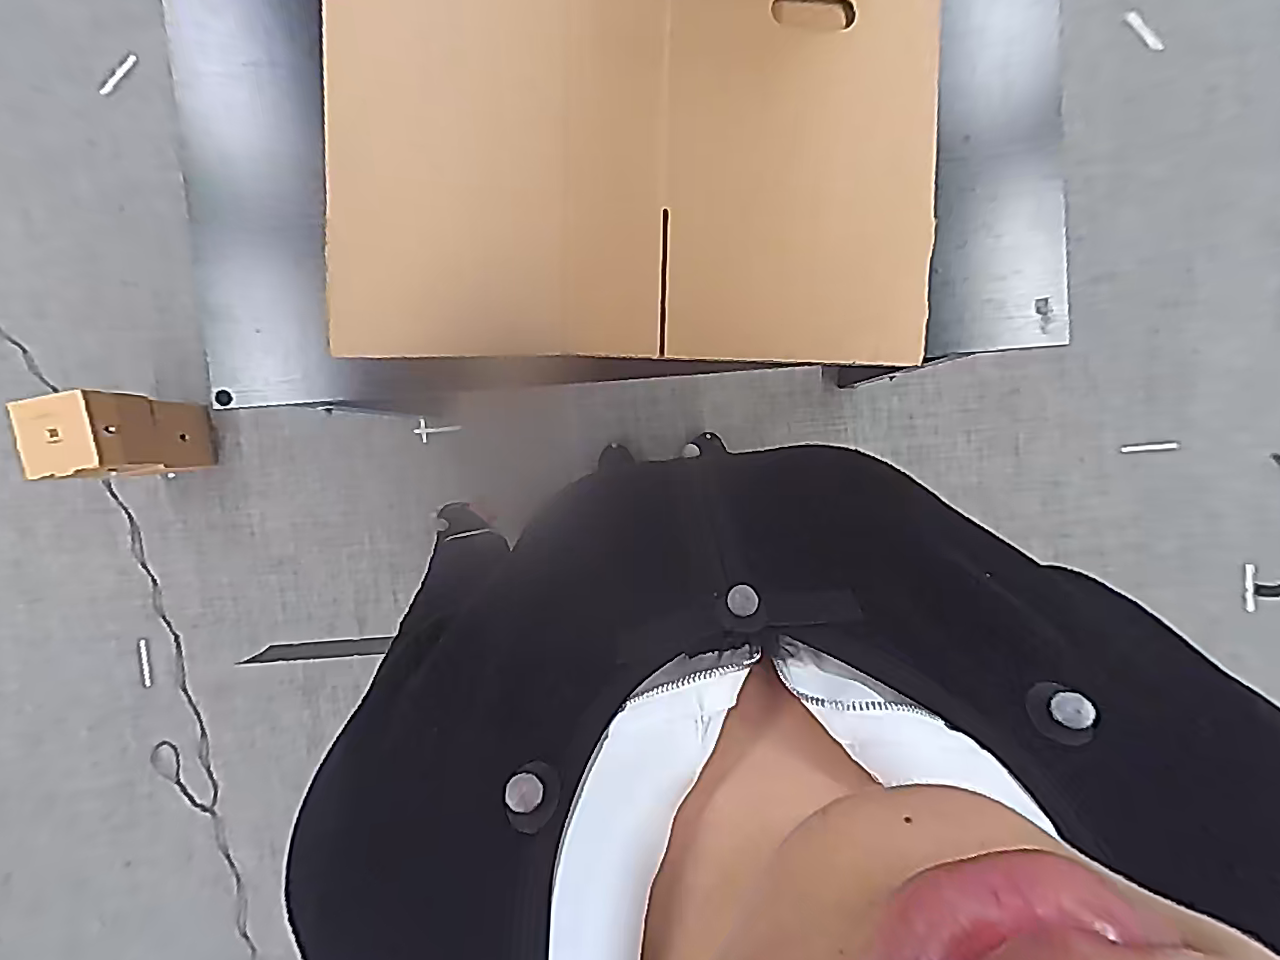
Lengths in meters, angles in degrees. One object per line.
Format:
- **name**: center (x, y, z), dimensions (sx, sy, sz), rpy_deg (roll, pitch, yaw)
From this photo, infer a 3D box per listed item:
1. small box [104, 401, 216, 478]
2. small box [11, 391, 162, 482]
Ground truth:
- **small box**: center (-1.269, -0.105, 1.421), dimensions (0.168, 0.176, 0.179), rpy_deg (-8, 94, 1)
- **small box**: center (-1.272, -0.100, 1.259), dimensions (0.168, 0.176, 0.179), rpy_deg (-12, 92, 0)
